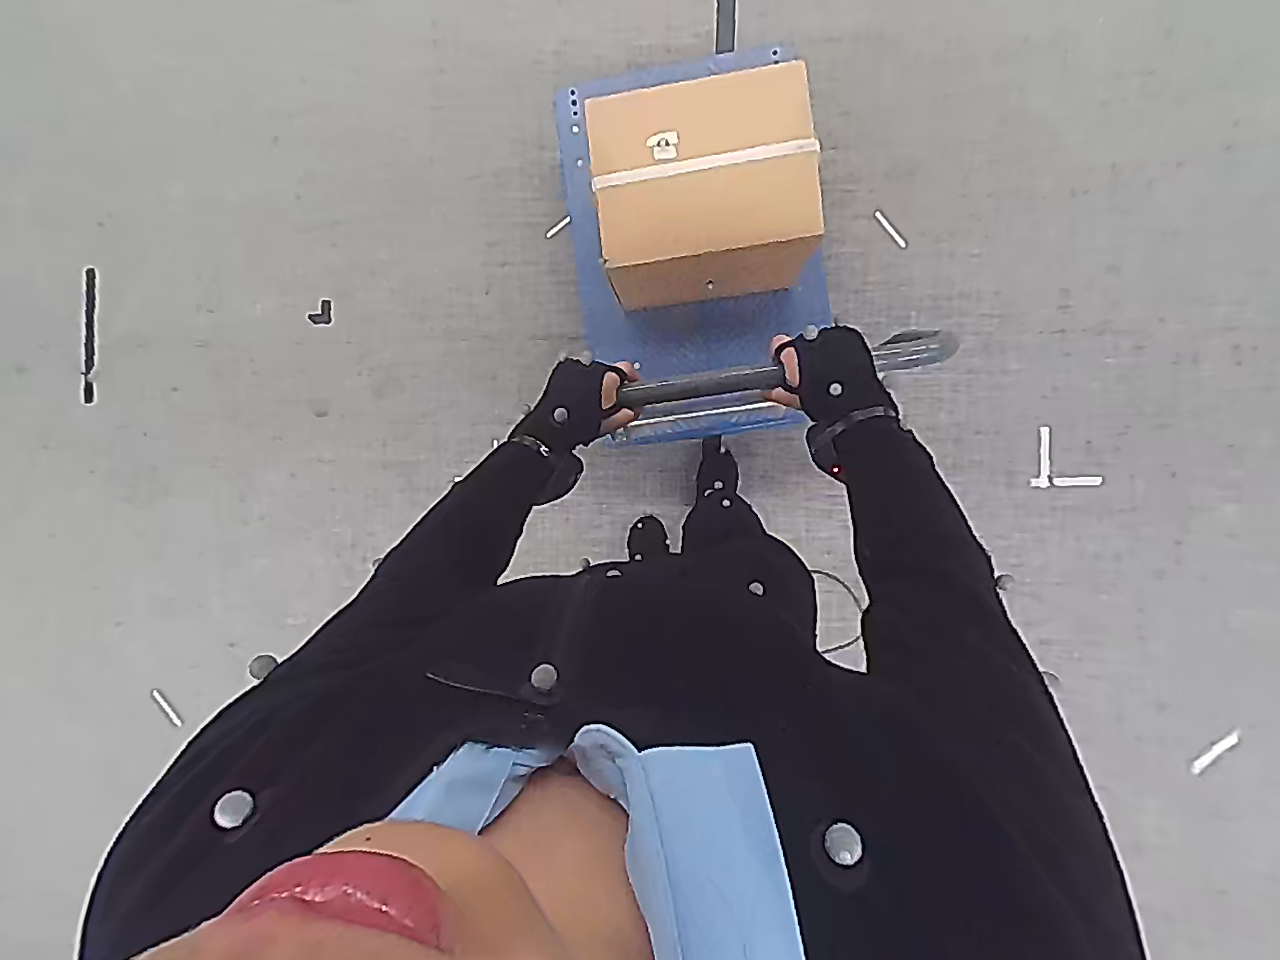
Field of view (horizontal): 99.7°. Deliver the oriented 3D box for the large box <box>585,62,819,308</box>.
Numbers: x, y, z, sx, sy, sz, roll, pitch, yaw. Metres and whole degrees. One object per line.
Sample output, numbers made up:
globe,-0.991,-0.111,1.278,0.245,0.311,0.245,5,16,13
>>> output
large box,0.128,-0.584,1.146,0.408,0.320,0.320,-7,91,6
